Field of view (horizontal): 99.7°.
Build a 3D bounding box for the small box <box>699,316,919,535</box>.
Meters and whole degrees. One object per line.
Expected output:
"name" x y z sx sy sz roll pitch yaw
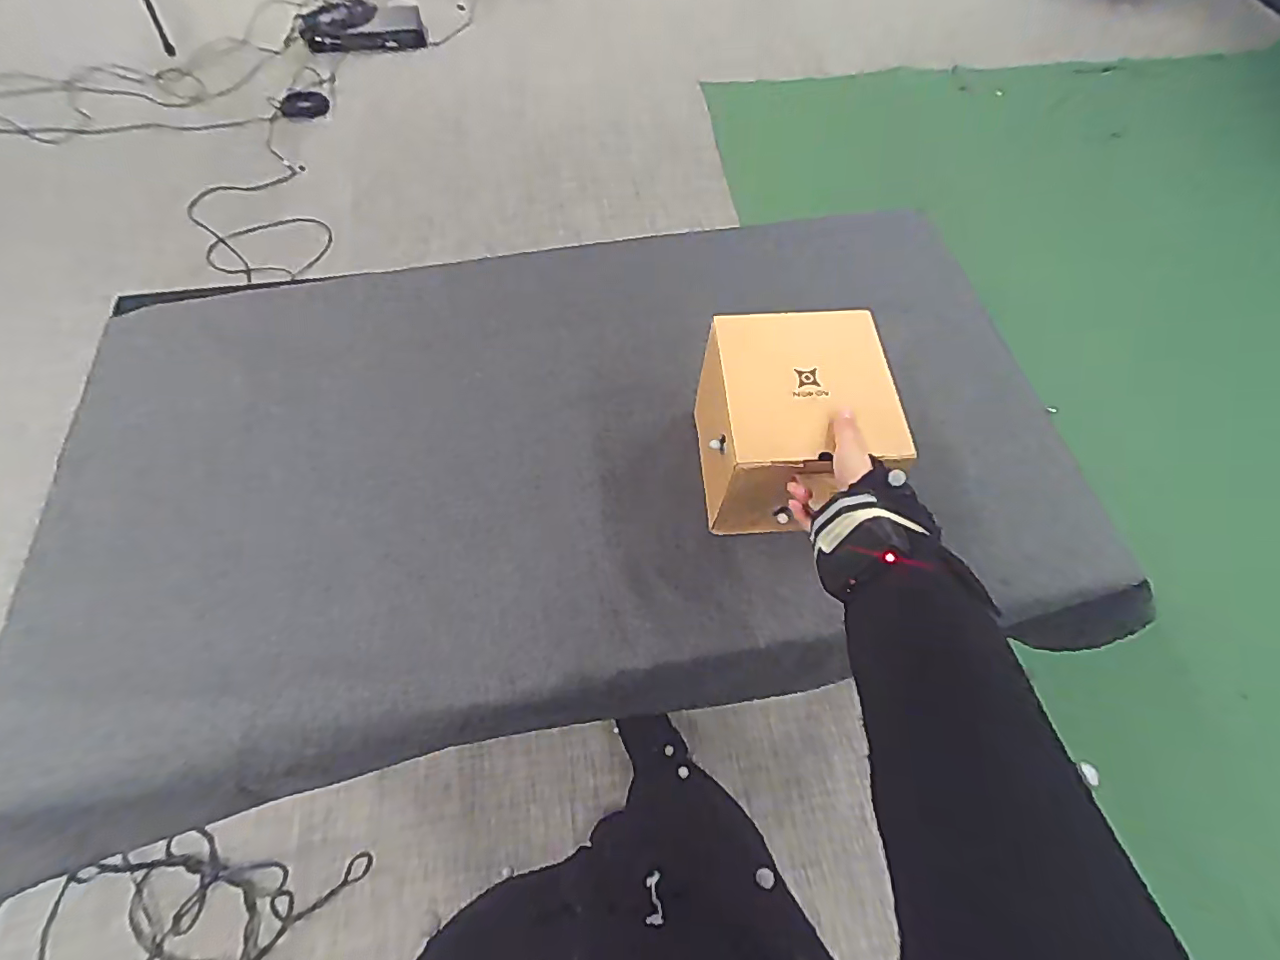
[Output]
"small box" 0.162 -0.054 0.588 0.168 0.176 0.179 -3 63 -3
